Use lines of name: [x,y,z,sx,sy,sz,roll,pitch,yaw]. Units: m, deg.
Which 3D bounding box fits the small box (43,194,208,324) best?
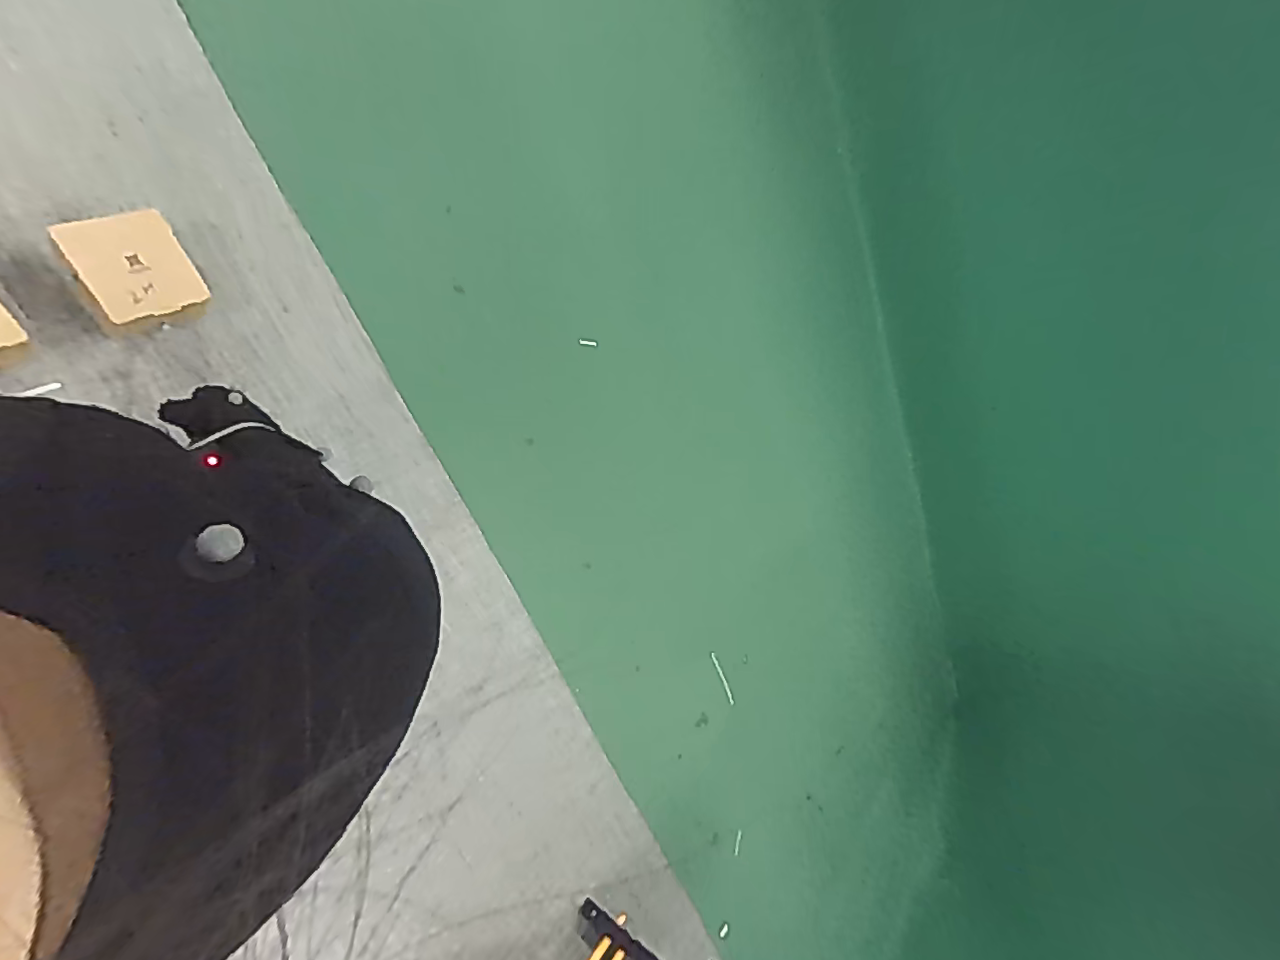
small box: [-0.992,-0.424,1.050,0.168,0.176,0.179,-38,117,-37]
